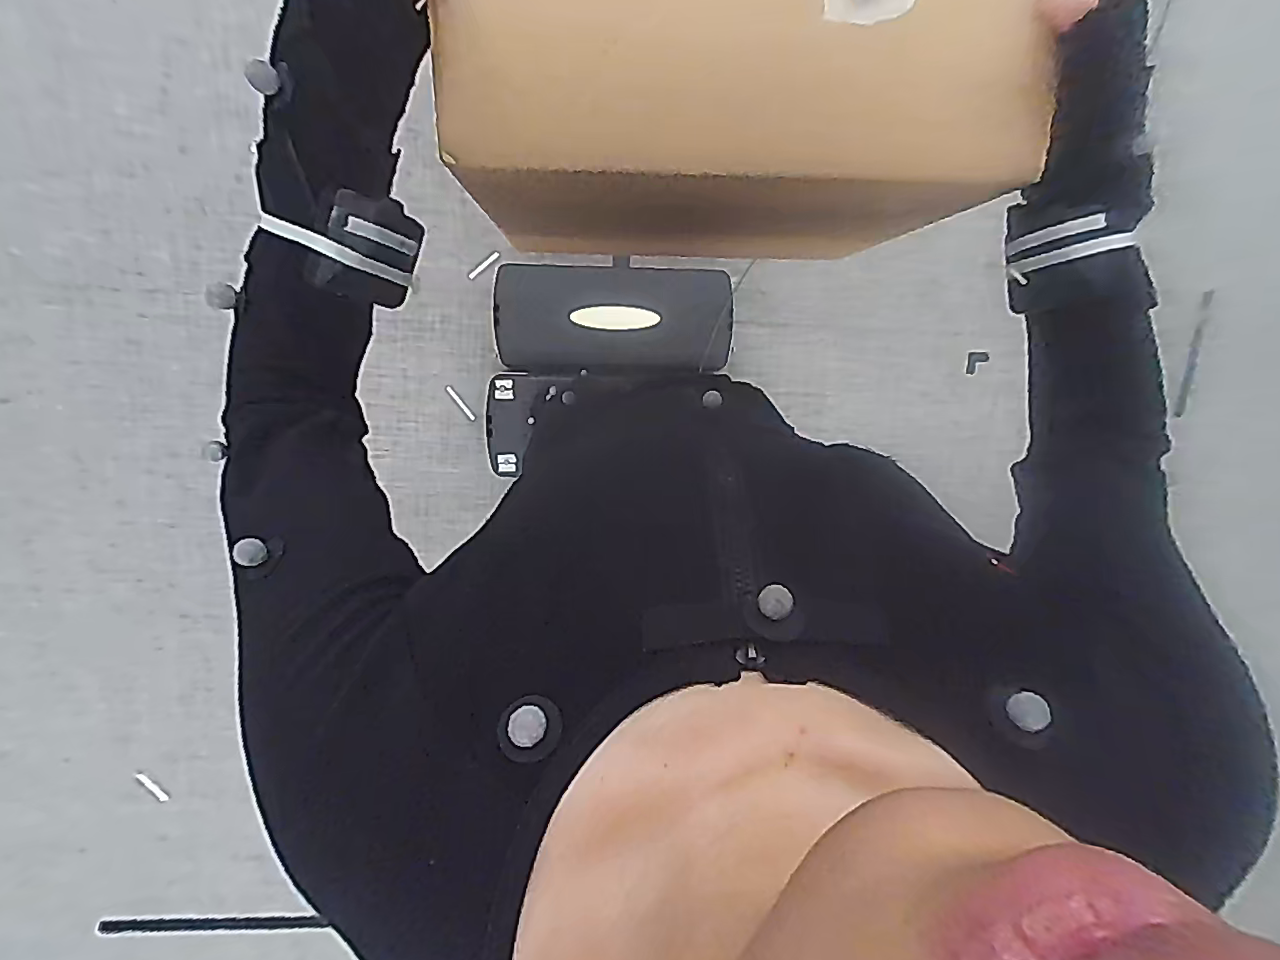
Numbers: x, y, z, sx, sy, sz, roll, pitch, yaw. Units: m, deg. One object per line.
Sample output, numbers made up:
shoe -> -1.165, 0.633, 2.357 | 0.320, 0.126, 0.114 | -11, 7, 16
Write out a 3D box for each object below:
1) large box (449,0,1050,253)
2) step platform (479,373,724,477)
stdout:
large box -> 0.063, -0.395, 0.482 | 0.408, 0.320, 0.320 | -1, 104, -5
step platform -> -0.105, -0.158, 1.546 | 0.684, 0.204, 0.286 | 0, 100, -3
